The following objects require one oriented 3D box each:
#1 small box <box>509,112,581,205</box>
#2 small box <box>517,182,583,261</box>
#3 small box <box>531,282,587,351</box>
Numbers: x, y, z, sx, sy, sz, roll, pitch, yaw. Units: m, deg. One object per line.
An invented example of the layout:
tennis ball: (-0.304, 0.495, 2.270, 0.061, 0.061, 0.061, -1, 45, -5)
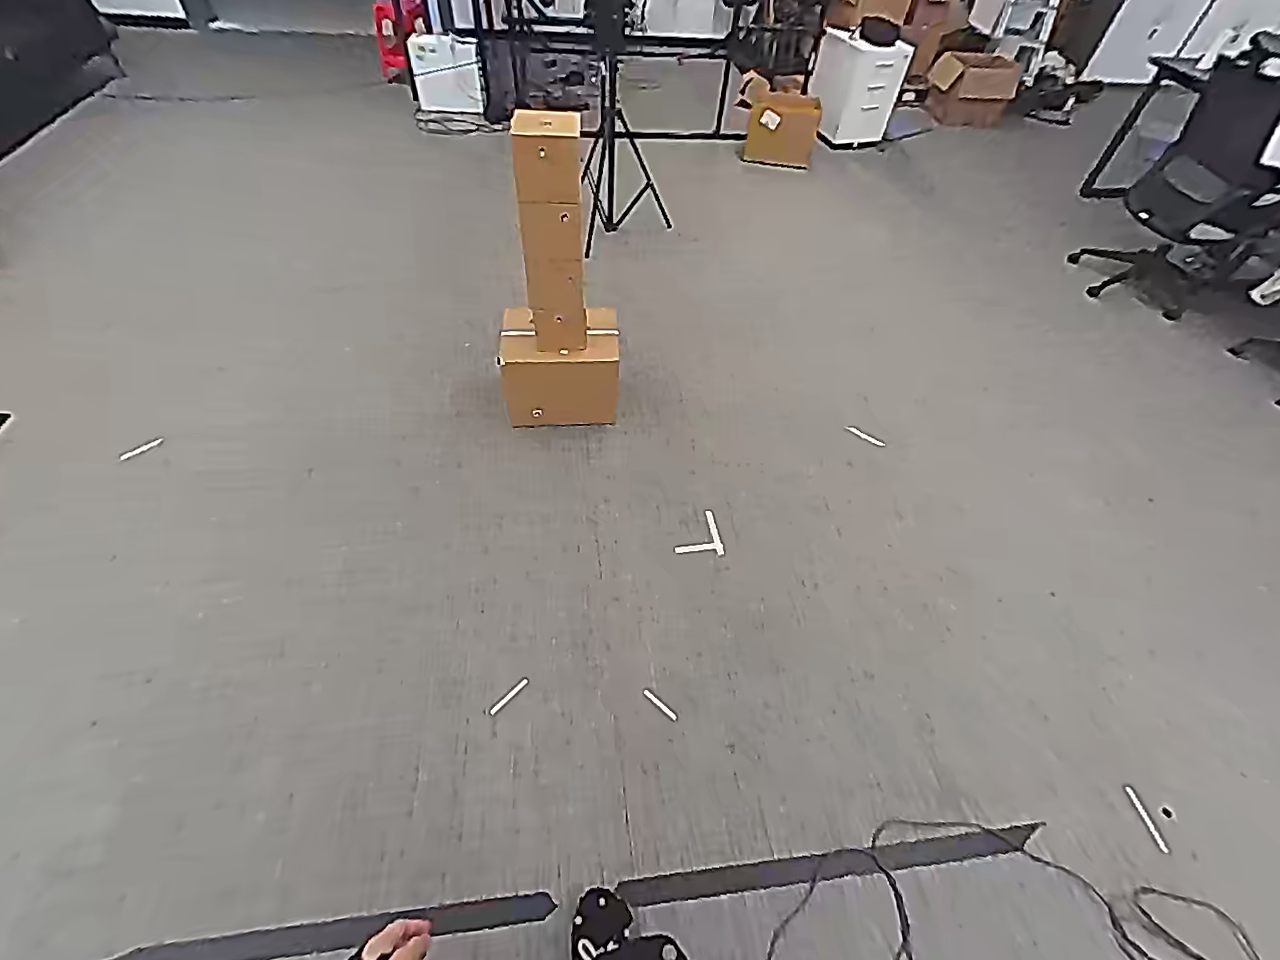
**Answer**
small box: (-0.248, -0.860, 1.454, 0.179, 0.176, 0.168, -1, 52, -5)
small box: (-0.256, -0.758, 1.580, 0.179, 0.176, 0.168, -1, 52, -5)
small box: (-0.272, -0.552, 1.836, 0.179, 0.176, 0.168, -4, 53, -8)
